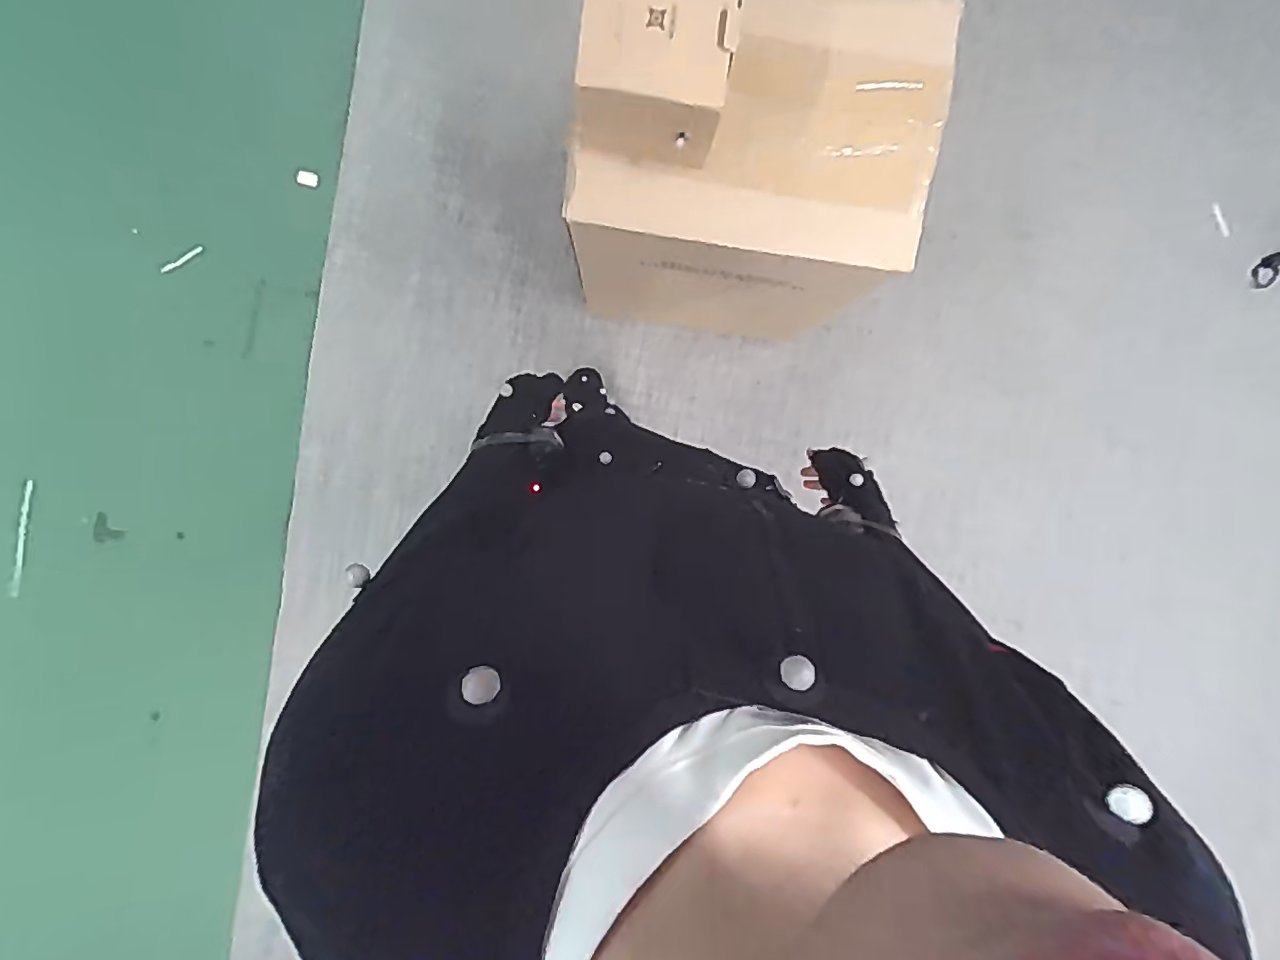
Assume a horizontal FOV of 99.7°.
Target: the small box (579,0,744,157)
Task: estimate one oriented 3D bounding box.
[{"bbox_3d":[0.025,-0.536,0.683,0.179,0.176,0.168,7,99,-2],"label":"small box"}]
